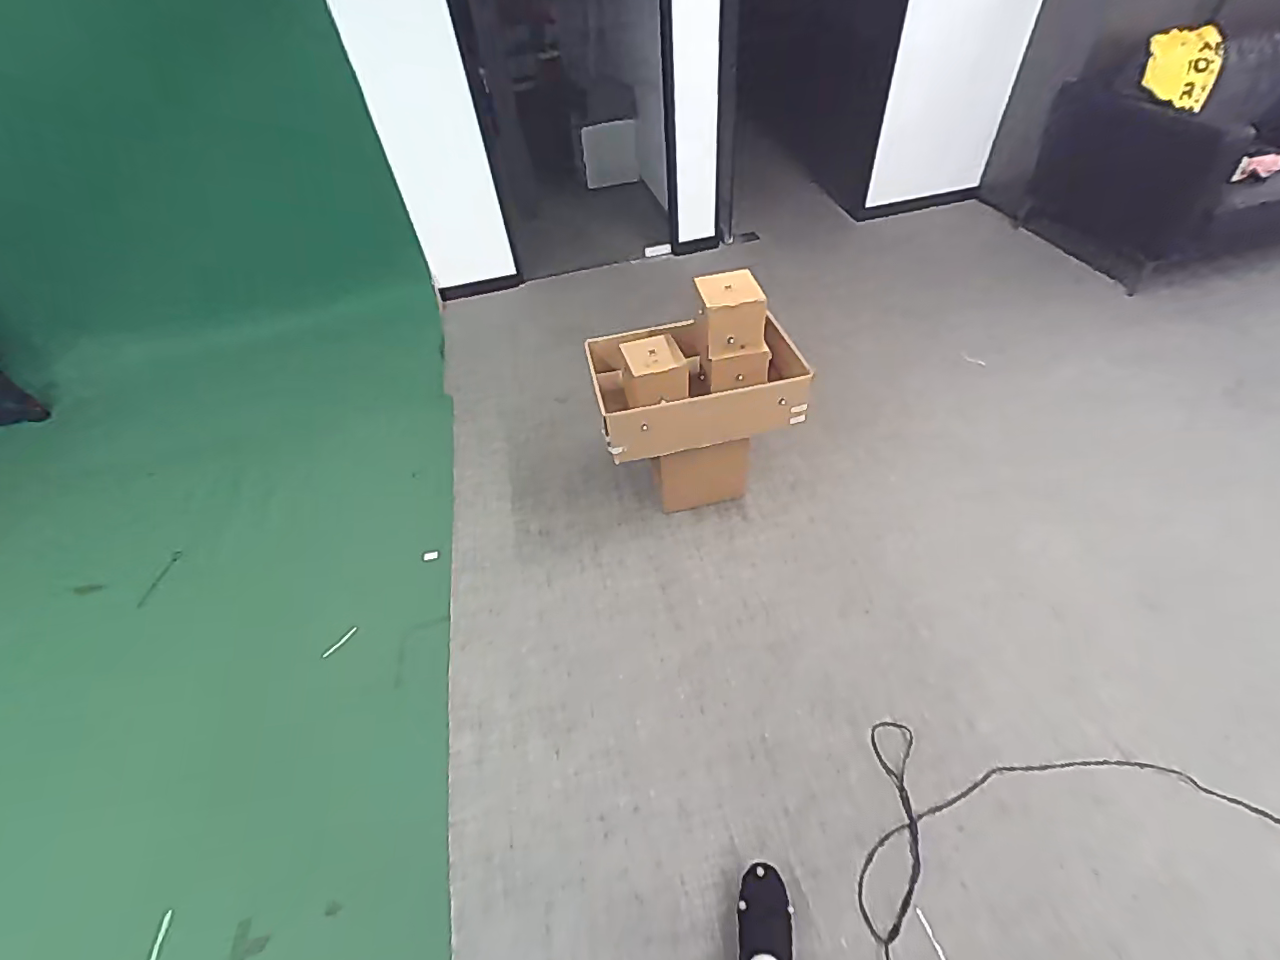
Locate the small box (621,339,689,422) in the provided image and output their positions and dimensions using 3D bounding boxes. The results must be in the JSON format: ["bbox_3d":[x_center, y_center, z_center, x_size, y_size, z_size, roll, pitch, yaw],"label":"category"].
[{"bbox_3d":[0.045,-0.306,1.665,0.168,0.176,0.179,-14,48,-8],"label":"small box"}]

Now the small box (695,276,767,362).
[{"bbox_3d":[0.257,-0.467,1.573,0.168,0.176,0.179,-10,47,-2],"label":"small box"}]
